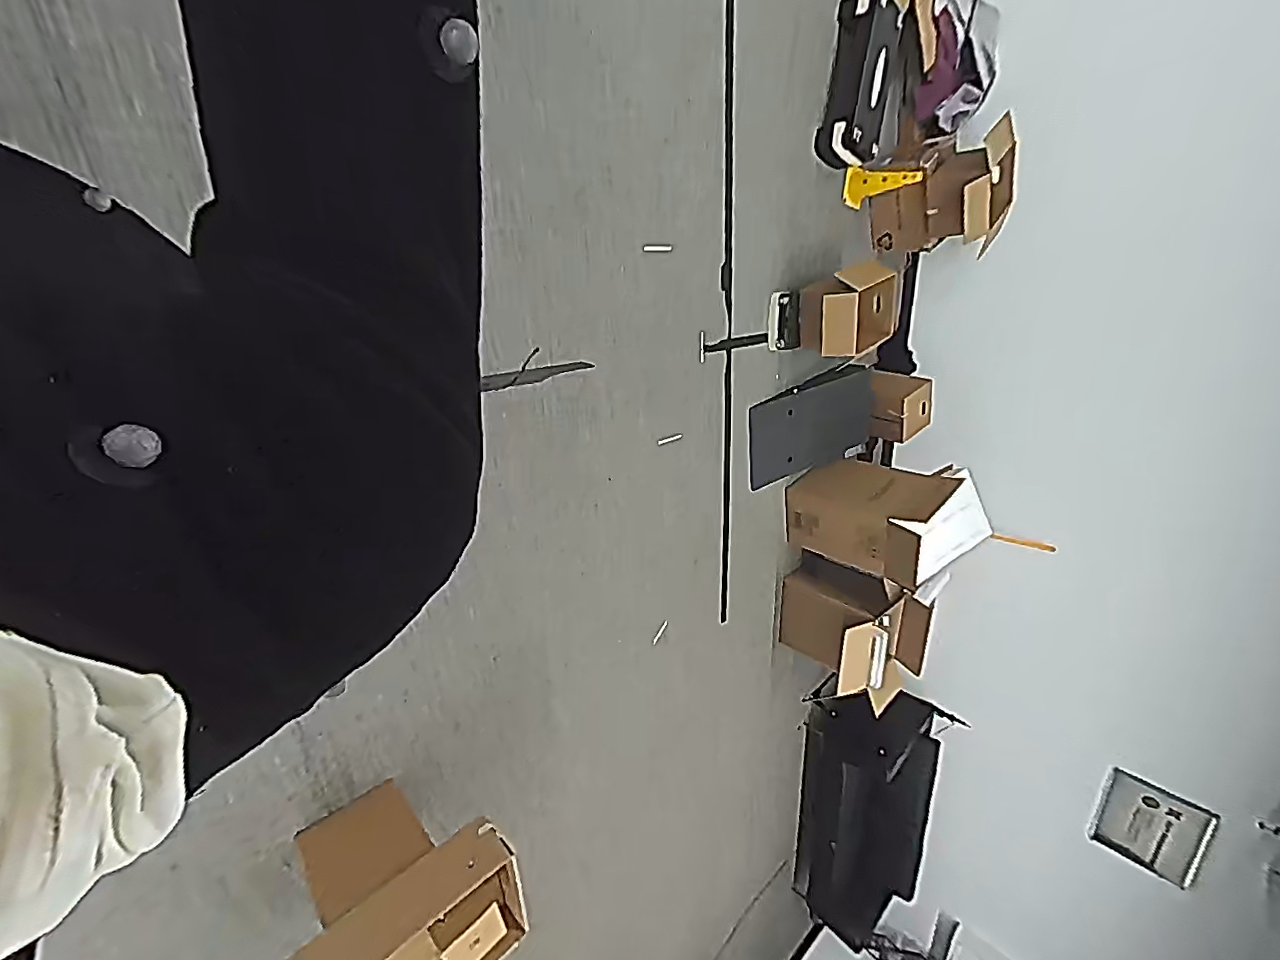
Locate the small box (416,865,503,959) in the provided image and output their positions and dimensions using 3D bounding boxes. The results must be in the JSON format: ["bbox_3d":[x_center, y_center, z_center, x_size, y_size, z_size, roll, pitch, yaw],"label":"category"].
[{"bbox_3d":[-0.536,1.301,1.590,0.179,0.176,0.168,-27,123,-38],"label":"small box"}]
